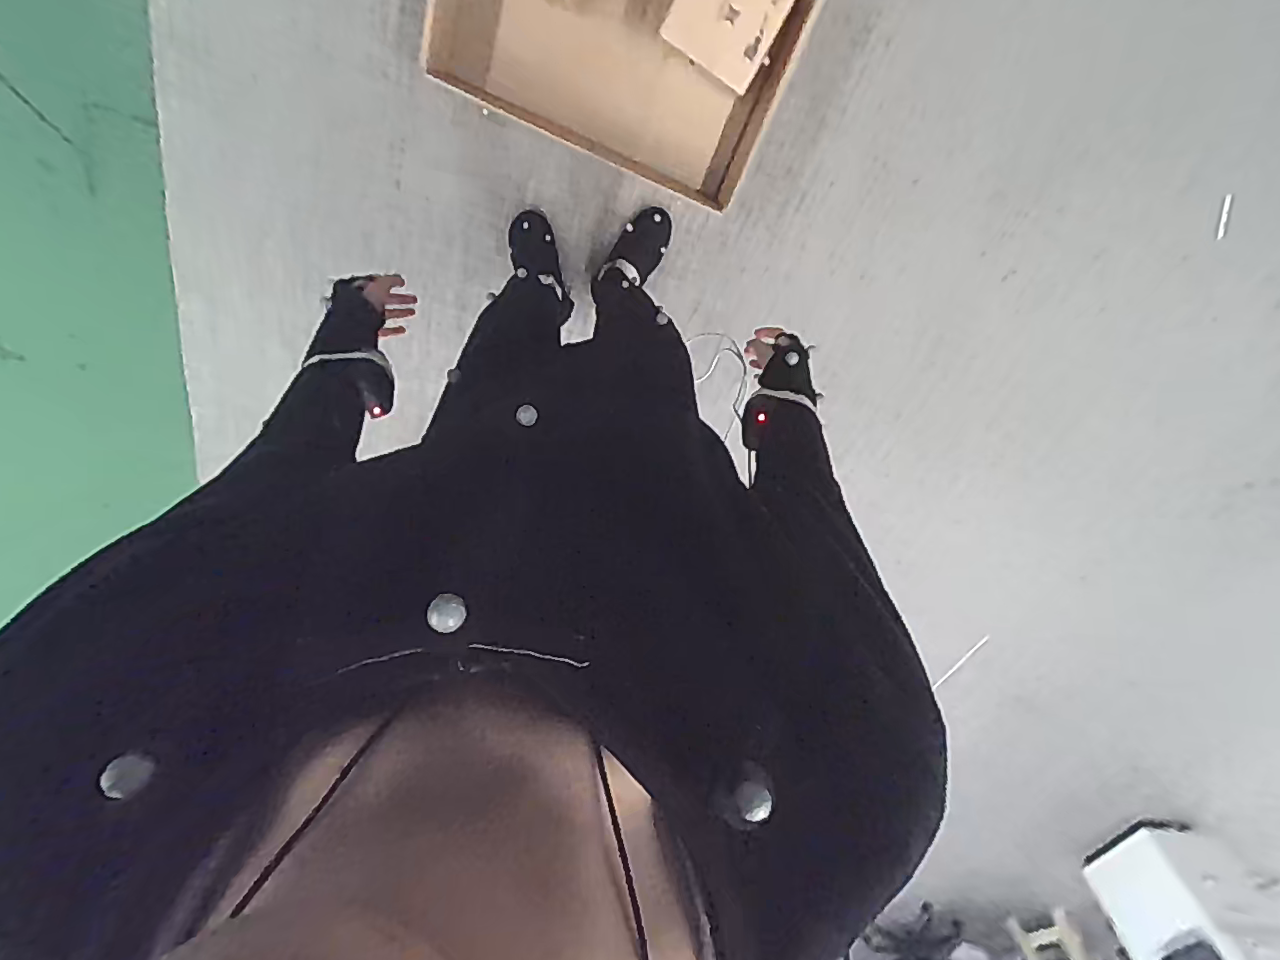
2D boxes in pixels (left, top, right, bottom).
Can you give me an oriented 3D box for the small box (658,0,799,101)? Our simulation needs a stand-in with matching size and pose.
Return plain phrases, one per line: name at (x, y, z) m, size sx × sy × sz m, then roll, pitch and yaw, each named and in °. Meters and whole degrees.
small box at (0.147, -0.805, 0.959) m, size 0.179 × 0.176 × 0.168 m, roll 28°, pitch 121°, yaw -15°
